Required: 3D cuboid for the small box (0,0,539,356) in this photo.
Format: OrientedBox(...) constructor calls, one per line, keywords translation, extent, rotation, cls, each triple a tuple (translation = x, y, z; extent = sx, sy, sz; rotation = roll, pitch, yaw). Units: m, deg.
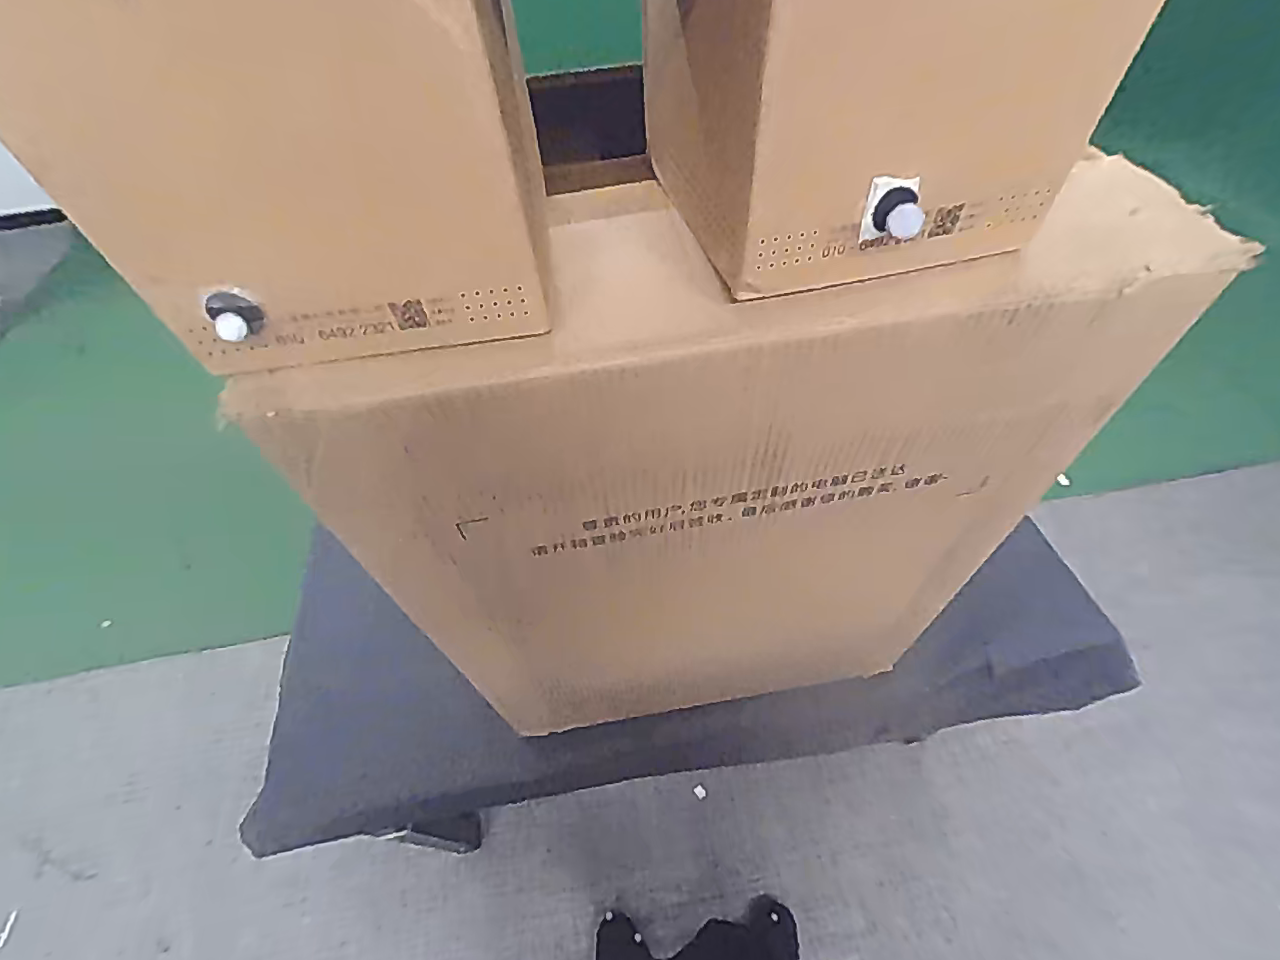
OrientedBox(translation=(-0.144, -0.173, 0.250), extent=(0.168, 0.176, 0.179), rotation=(-7, 52, -1), cls="small box")
